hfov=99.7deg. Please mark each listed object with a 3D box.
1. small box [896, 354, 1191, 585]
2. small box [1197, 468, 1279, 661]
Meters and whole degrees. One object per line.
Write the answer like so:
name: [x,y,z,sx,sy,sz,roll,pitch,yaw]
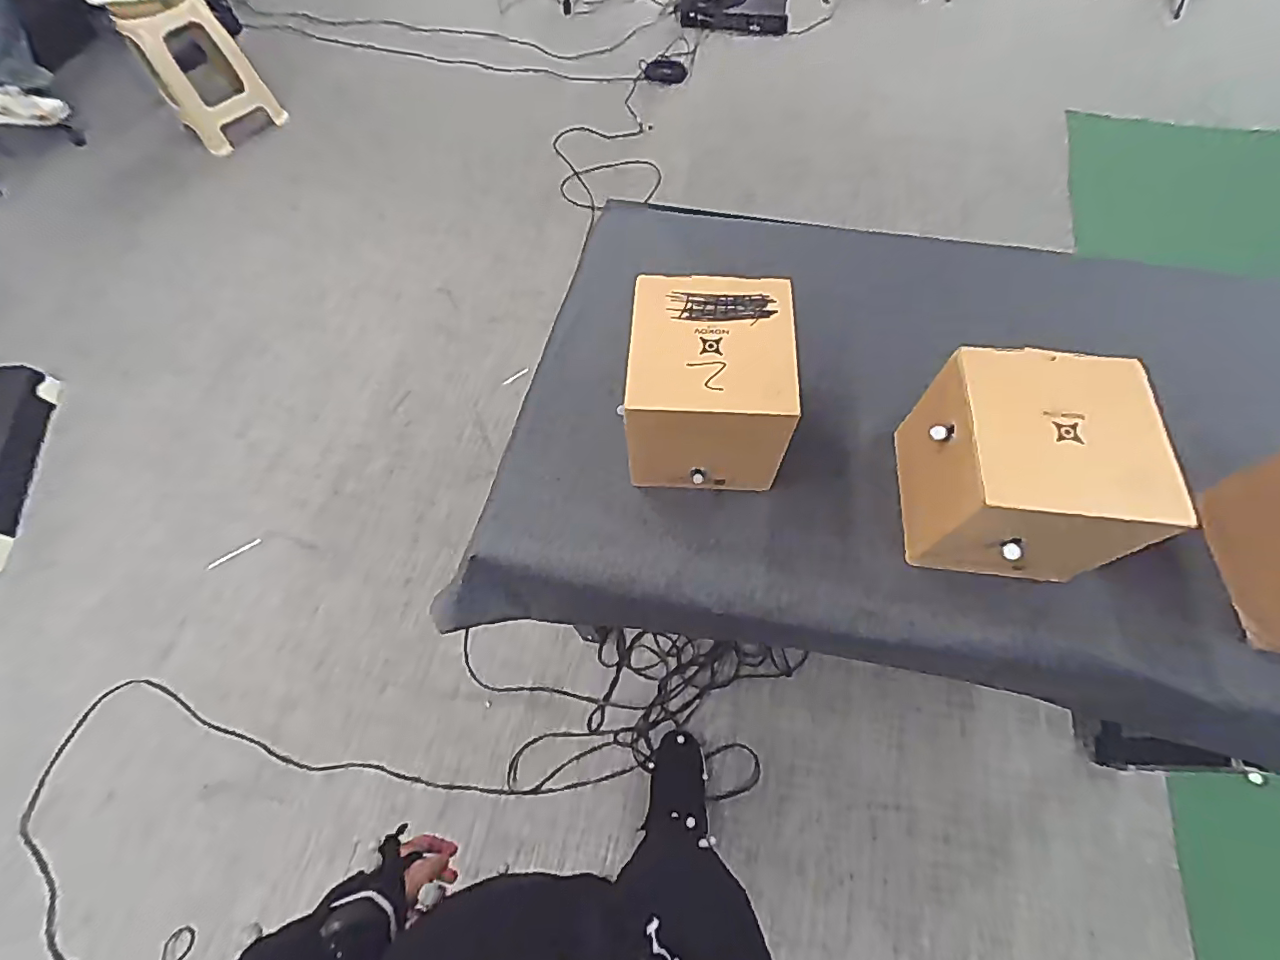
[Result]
small box: [0.381,-0.003,0.554,0.168,0.176,0.179,6,62,5]
small box: [0.694,0.072,0.504,0.168,0.176,0.179,4,63,6]
